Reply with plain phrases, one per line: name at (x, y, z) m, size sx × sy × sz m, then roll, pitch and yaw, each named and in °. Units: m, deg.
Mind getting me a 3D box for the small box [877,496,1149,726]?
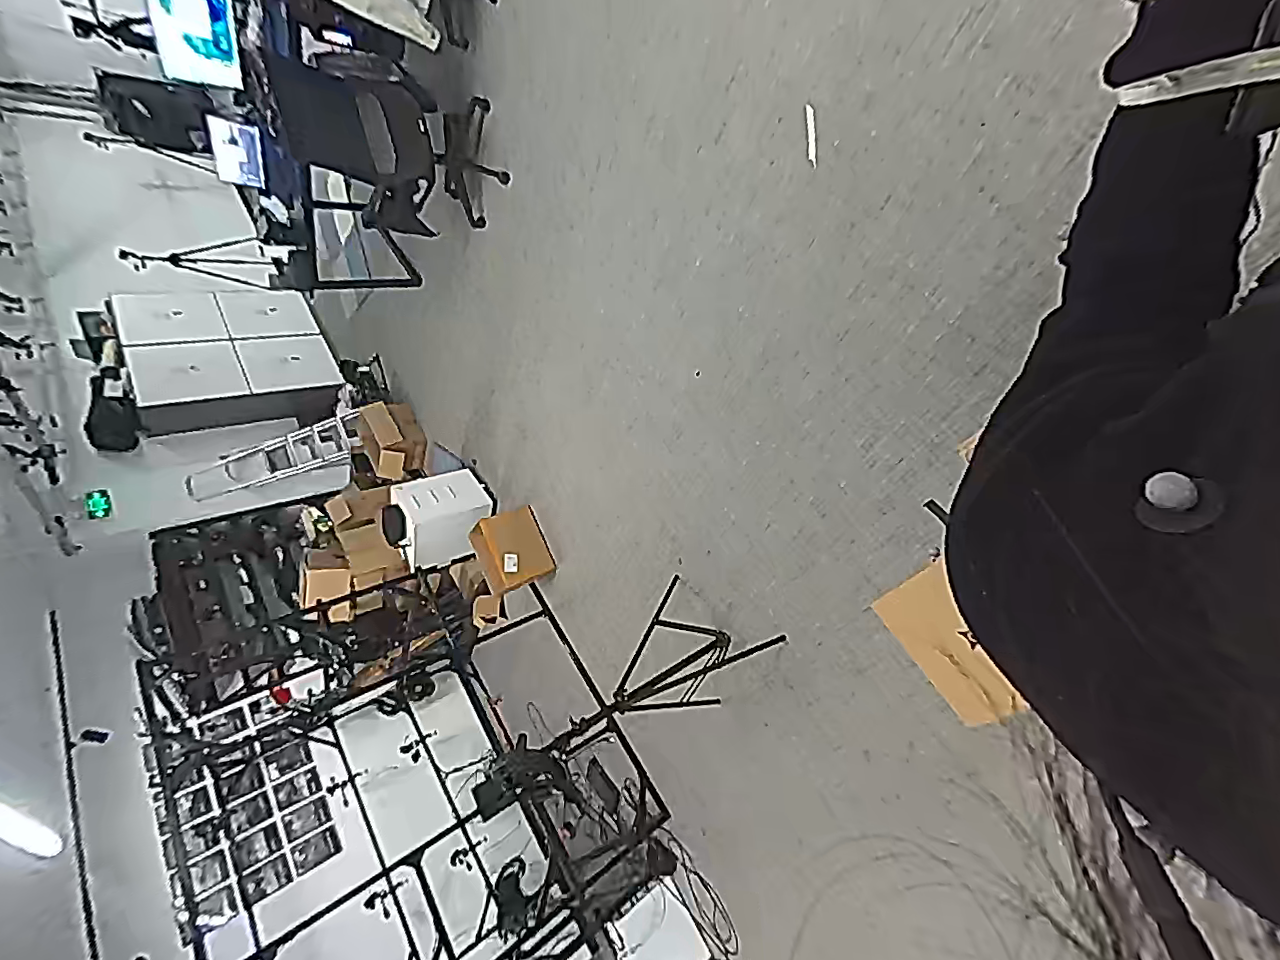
small box at (0.421, 0.142, 0.615) m, size 0.168 × 0.176 × 0.179 m, roll 56°, pitch 142°, yaw 22°
